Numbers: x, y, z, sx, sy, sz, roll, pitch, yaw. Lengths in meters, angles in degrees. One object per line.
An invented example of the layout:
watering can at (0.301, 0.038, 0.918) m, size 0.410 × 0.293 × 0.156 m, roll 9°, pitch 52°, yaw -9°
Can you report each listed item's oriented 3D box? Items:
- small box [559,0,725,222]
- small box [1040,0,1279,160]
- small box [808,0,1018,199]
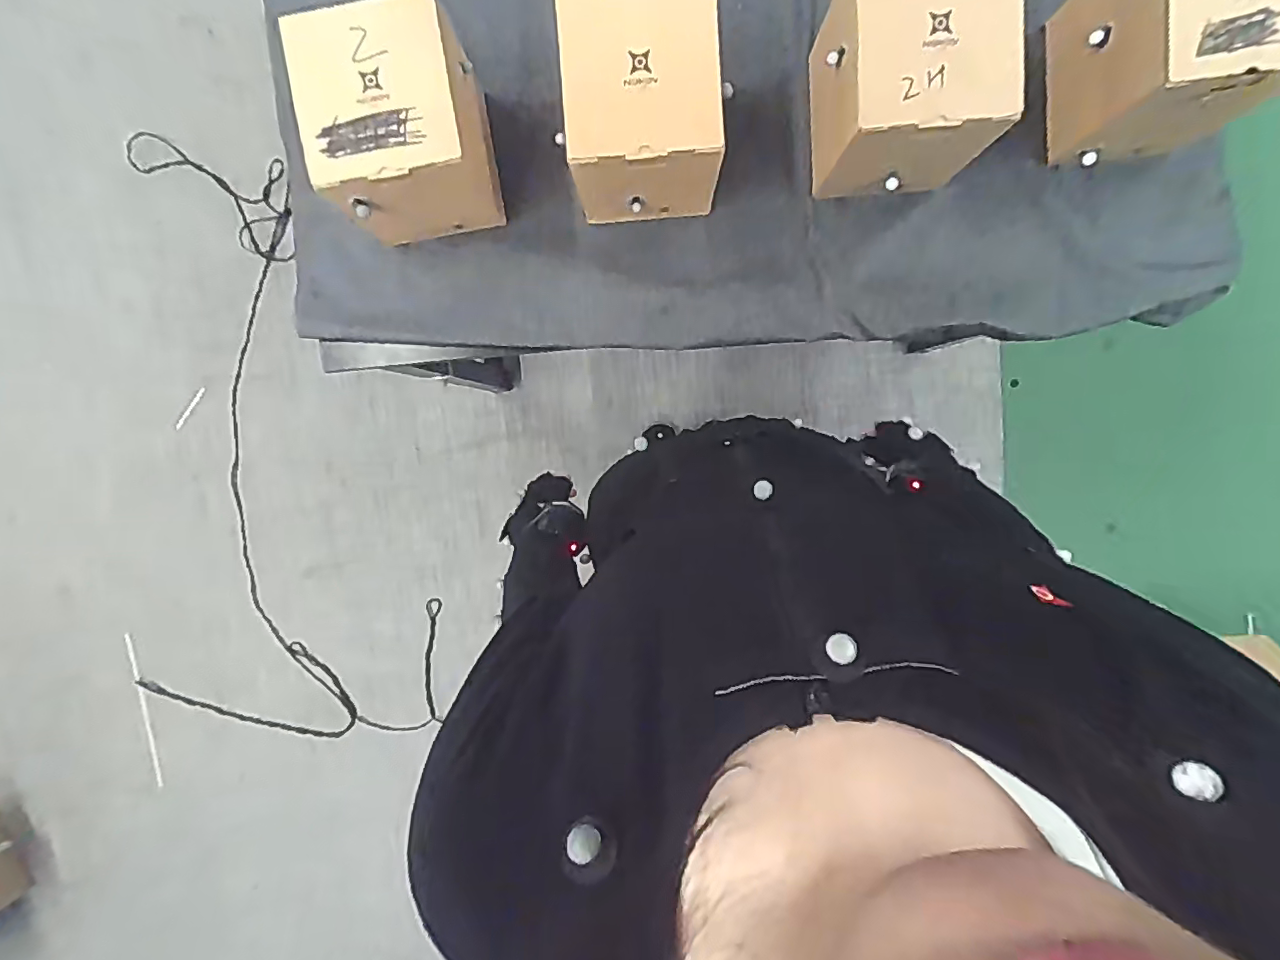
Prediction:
small box at (0.002, -0.428, 0.634) m, size 0.168 × 0.176 × 0.179 m, roll -4°, pitch 96°, yaw 1°
small box at (0.595, -0.492, 0.616) m, size 0.168 × 0.176 × 0.179 m, roll -5°, pitch 95°, yaw 1°
small box at (0.299, -0.453, 0.625) m, size 0.168 × 0.176 × 0.179 m, roll -4°, pitch 95°, yaw 2°
